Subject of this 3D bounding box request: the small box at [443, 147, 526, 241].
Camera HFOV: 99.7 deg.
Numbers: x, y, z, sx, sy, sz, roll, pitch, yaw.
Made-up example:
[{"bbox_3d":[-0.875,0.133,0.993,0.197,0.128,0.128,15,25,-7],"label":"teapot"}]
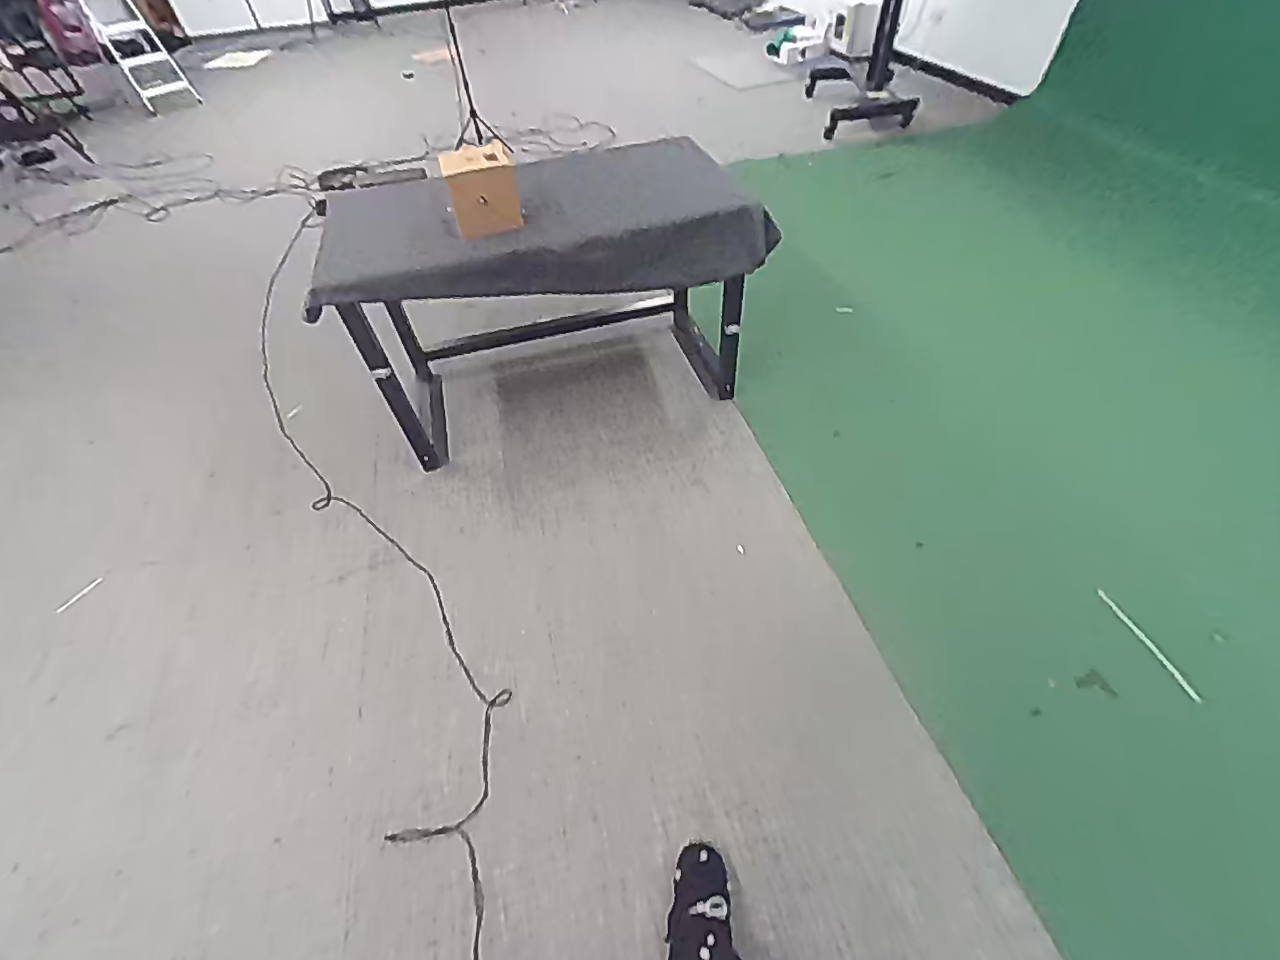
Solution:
[{"bbox_3d":[-0.420,-0.783,1.482,0.179,0.176,0.168,-18,51,-12],"label":"small box"}]
